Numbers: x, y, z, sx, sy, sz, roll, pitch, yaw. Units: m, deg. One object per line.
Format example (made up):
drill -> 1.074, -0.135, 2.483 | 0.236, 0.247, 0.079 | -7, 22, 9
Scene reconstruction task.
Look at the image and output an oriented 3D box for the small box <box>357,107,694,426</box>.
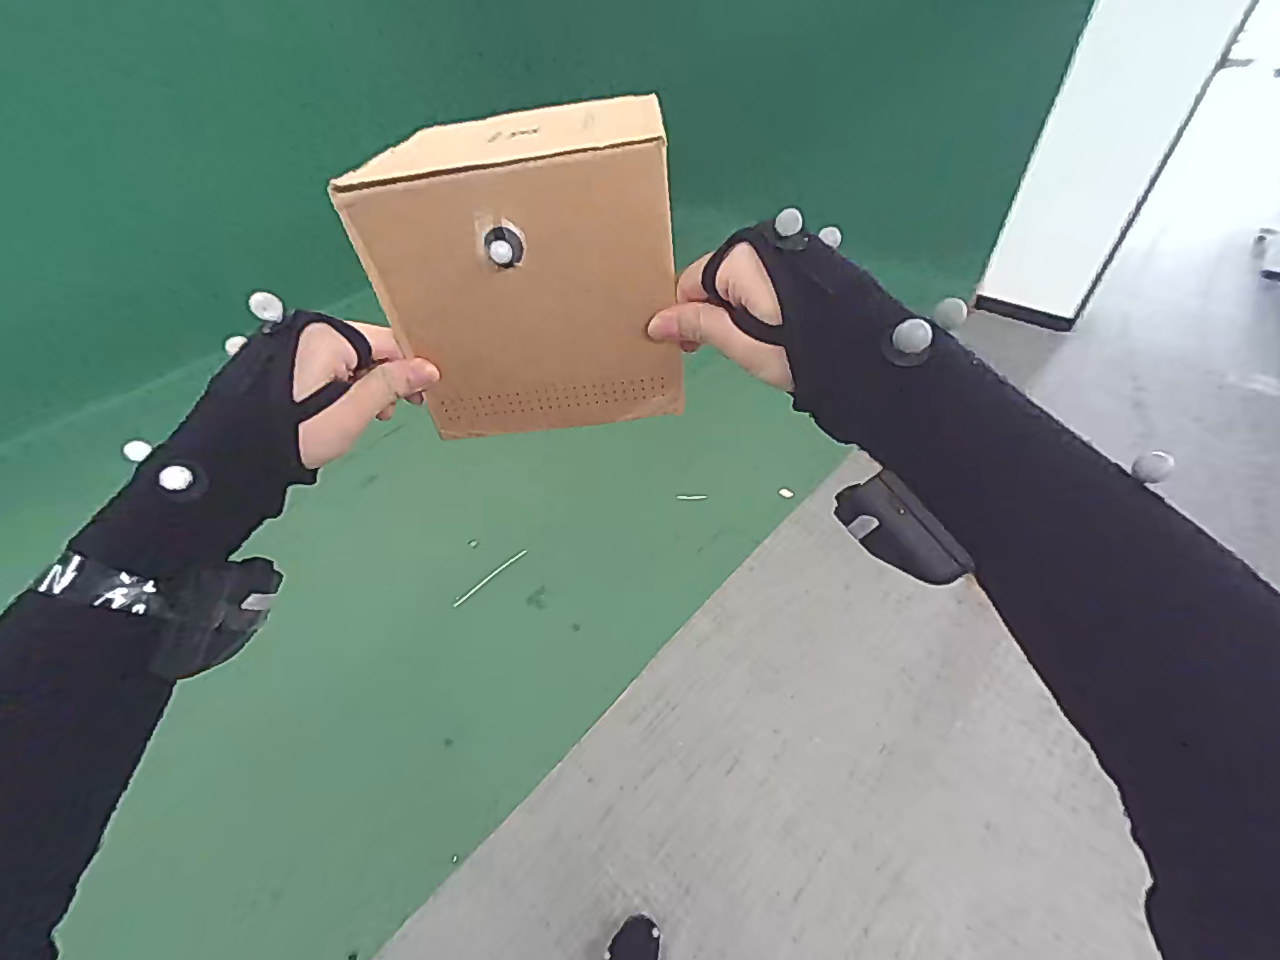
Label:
small box -> -0.057, -0.152, 0.393 | 0.179, 0.176, 0.168 | -5, 40, 5
